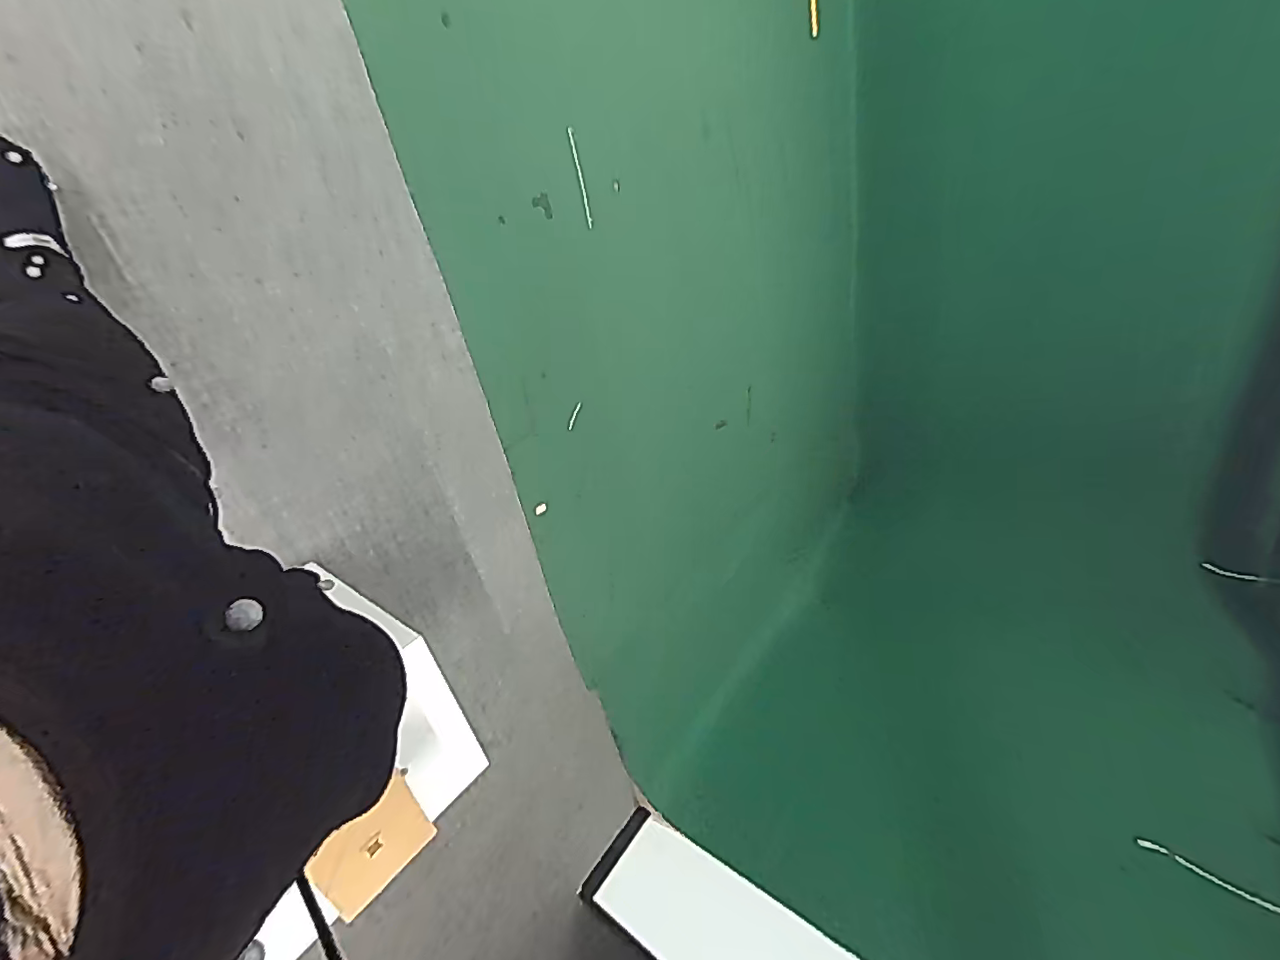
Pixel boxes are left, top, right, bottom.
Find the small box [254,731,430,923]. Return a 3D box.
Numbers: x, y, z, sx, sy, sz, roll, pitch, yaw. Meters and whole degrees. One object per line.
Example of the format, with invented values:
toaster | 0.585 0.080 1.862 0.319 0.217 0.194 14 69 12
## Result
small box | -0.484 0.552 0.885 0.168 0.176 0.179 -38 127 -39
